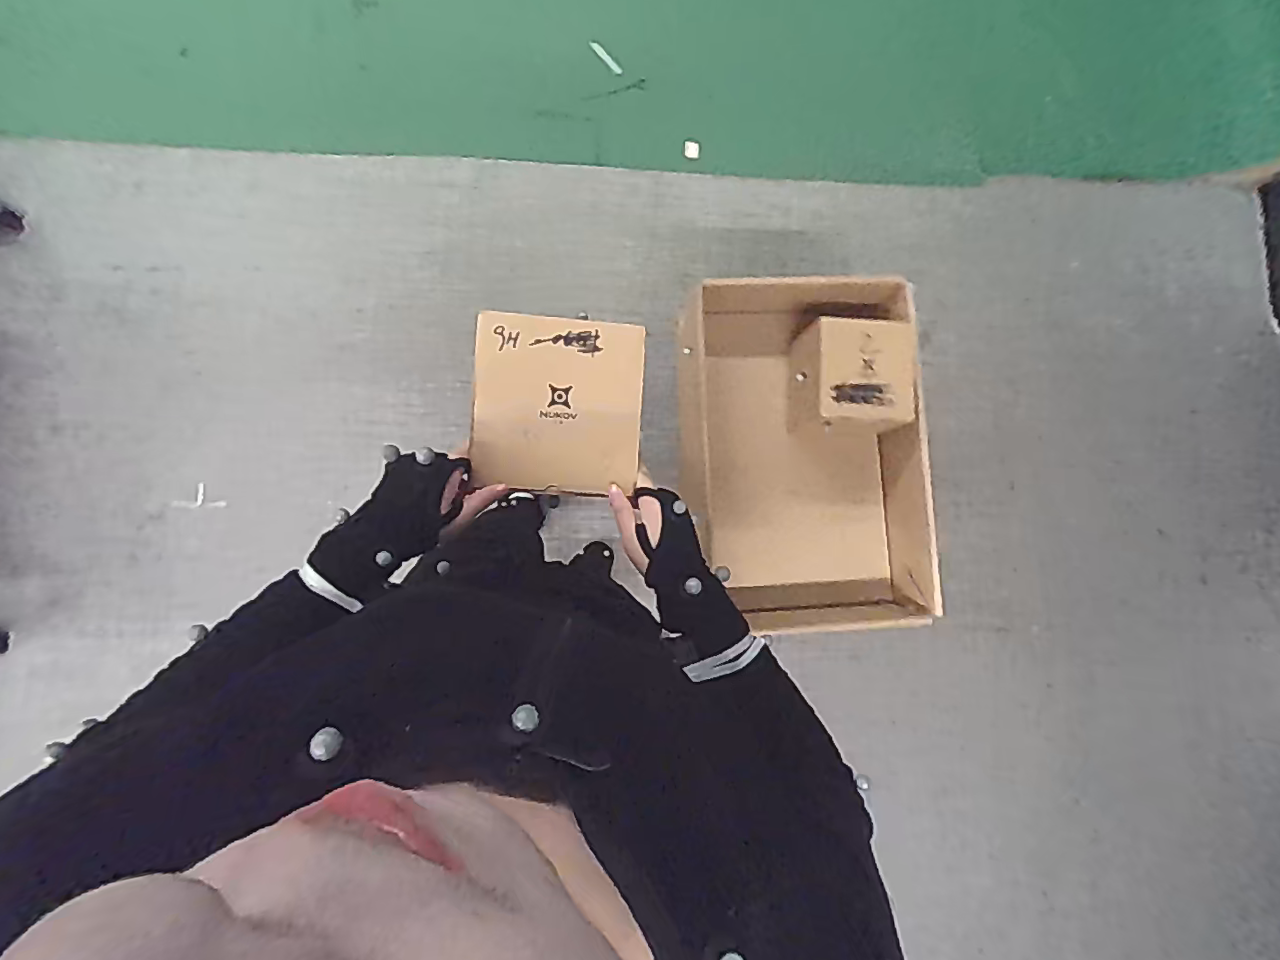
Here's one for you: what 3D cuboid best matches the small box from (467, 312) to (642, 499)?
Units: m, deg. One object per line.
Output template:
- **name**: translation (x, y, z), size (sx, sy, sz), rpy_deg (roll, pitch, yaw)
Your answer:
- **small box**: translation (-0.092, -0.073, 0.611), size (0.168, 0.176, 0.179), rpy_deg (3, 90, -8)
